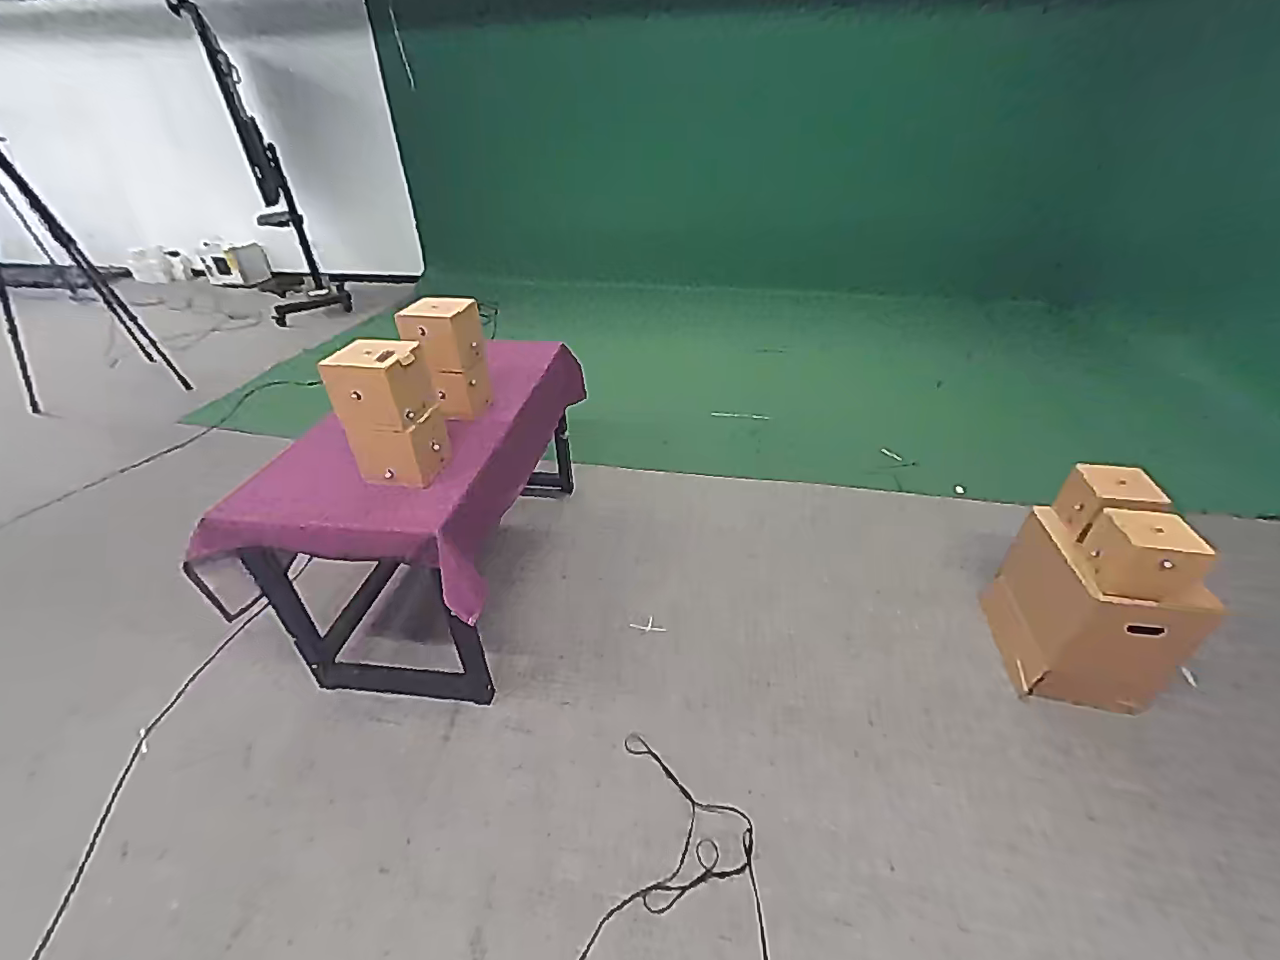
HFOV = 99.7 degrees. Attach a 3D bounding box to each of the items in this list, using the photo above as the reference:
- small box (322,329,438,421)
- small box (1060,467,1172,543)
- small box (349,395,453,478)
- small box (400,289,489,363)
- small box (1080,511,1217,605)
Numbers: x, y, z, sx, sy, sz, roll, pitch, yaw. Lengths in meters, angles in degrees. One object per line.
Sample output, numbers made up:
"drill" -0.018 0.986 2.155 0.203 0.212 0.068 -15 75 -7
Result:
"small box" -0.627 -0.257 1.332 0.179 0.176 0.168 5 36 10
"small box" 1.384 0.083 1.593 0.179 0.176 0.168 6 39 10
"small box" -0.618 -0.121 1.424 0.179 0.176 0.168 6 35 8
"small box" -0.574 -0.460 1.612 0.179 0.176 0.168 7 37 10
"small box" 1.319 0.206 1.419 0.179 0.176 0.168 7 35 10
